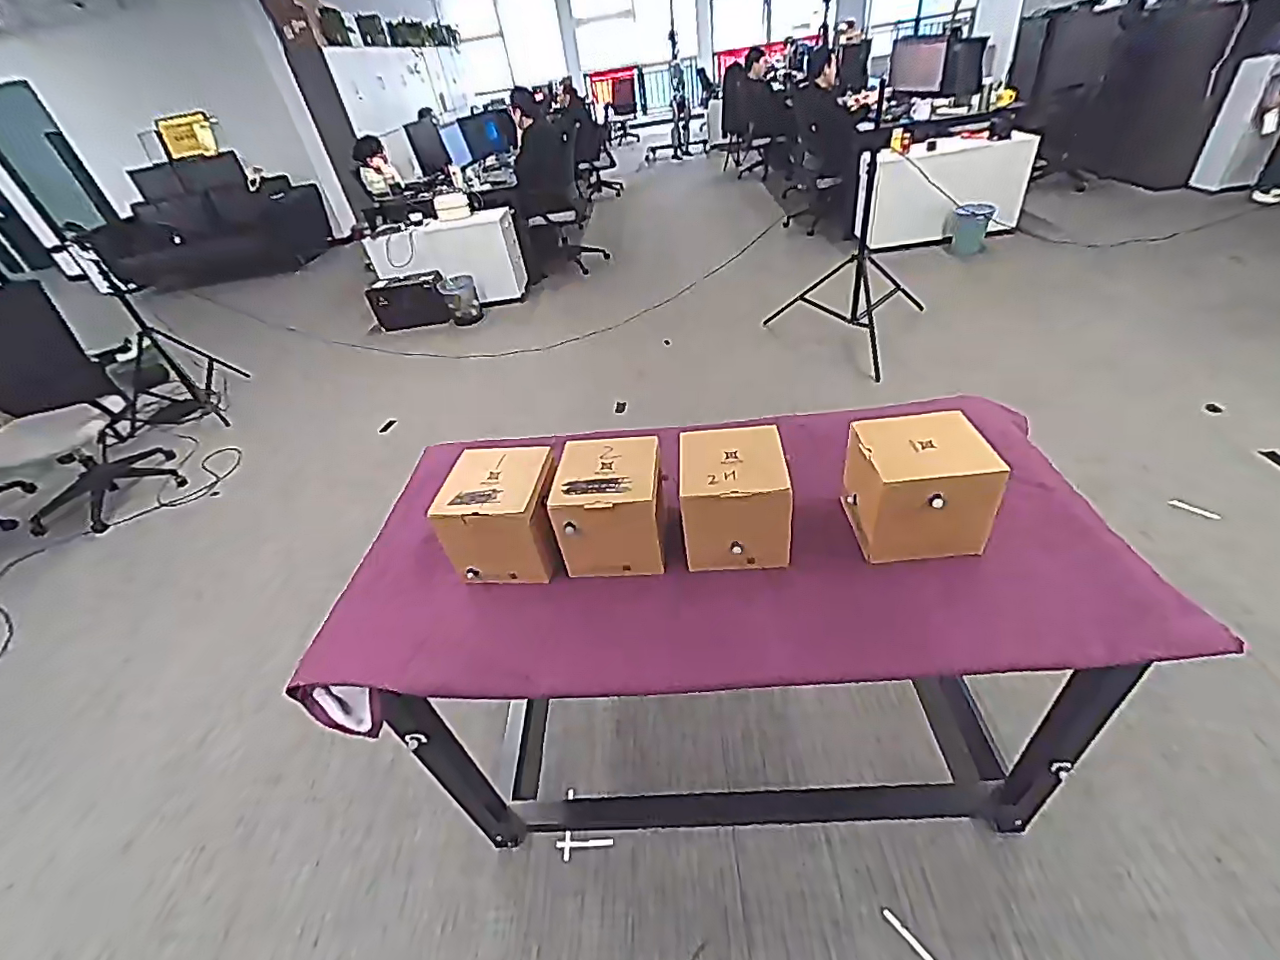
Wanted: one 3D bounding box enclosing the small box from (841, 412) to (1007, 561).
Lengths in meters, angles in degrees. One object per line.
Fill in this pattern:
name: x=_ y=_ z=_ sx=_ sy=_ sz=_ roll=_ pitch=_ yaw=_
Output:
small box: x=0.439 y=0.013 z=0.870 sx=0.179 sy=0.176 sz=0.168 roll=-6 pitch=37 yaw=6
